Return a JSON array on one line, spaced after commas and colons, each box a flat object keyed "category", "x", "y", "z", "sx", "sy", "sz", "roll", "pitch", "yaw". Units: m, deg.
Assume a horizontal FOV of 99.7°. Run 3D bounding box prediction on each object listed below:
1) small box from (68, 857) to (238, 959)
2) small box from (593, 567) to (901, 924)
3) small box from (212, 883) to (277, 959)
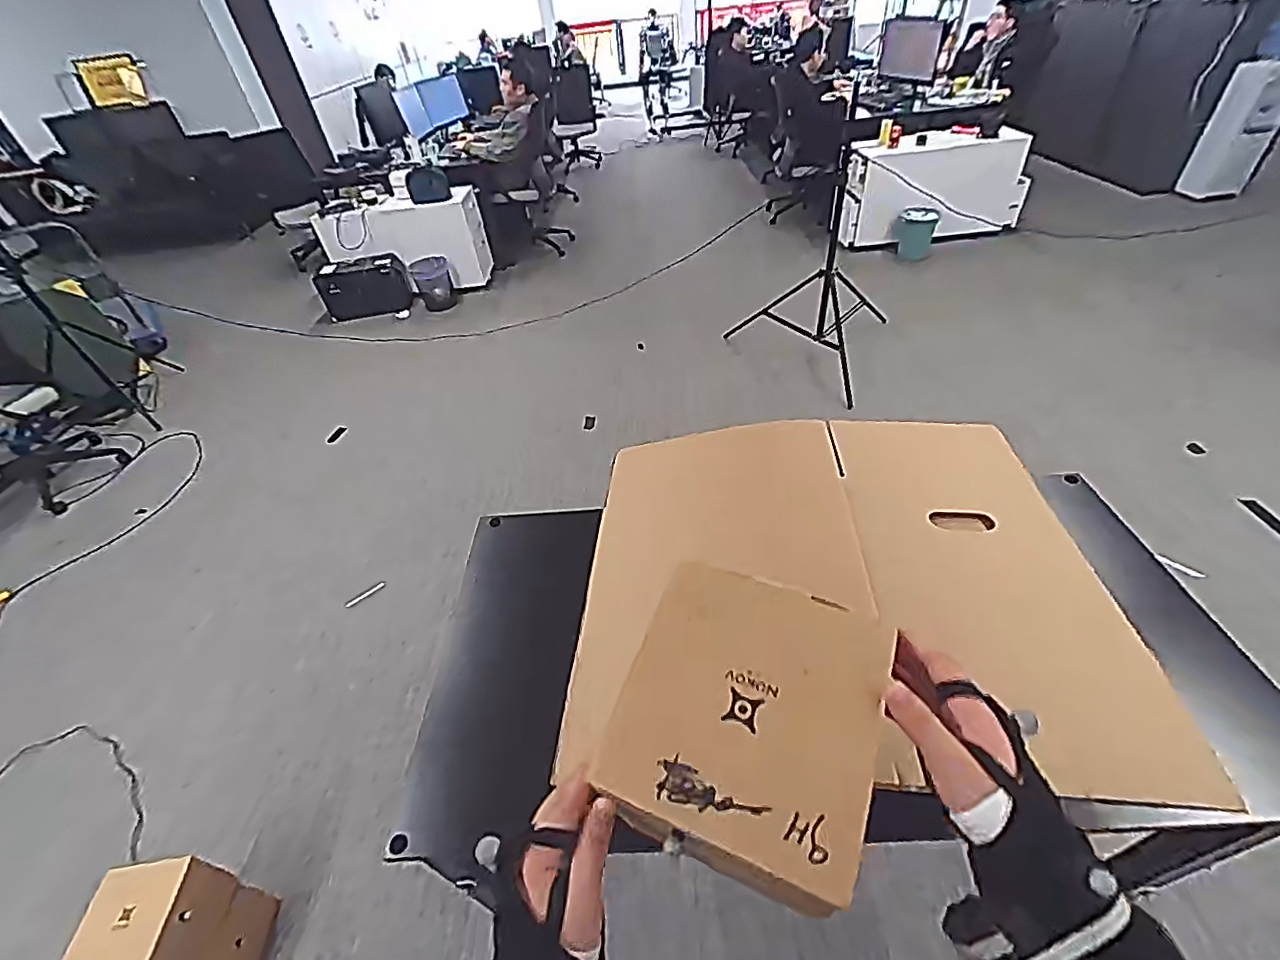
[{"category": "small box", "x": -0.948, "y": 0.881, "z": 1.068, "sx": 0.168, "sy": 0.176, "sz": 0.179, "roll": -8, "pitch": 40, "yaw": -3}, {"category": "small box", "x": 0.086, "y": 0.204, "z": 0.424, "sx": 0.168, "sy": 0.176, "sz": 0.179, "roll": 15, "pitch": 54, "yaw": 23}, {"category": "small box", "x": -0.931, "y": 1.006, "z": 1.171, "sx": 0.168, "sy": 0.176, "sz": 0.179, "roll": -7, "pitch": 42, "yaw": 0}]
